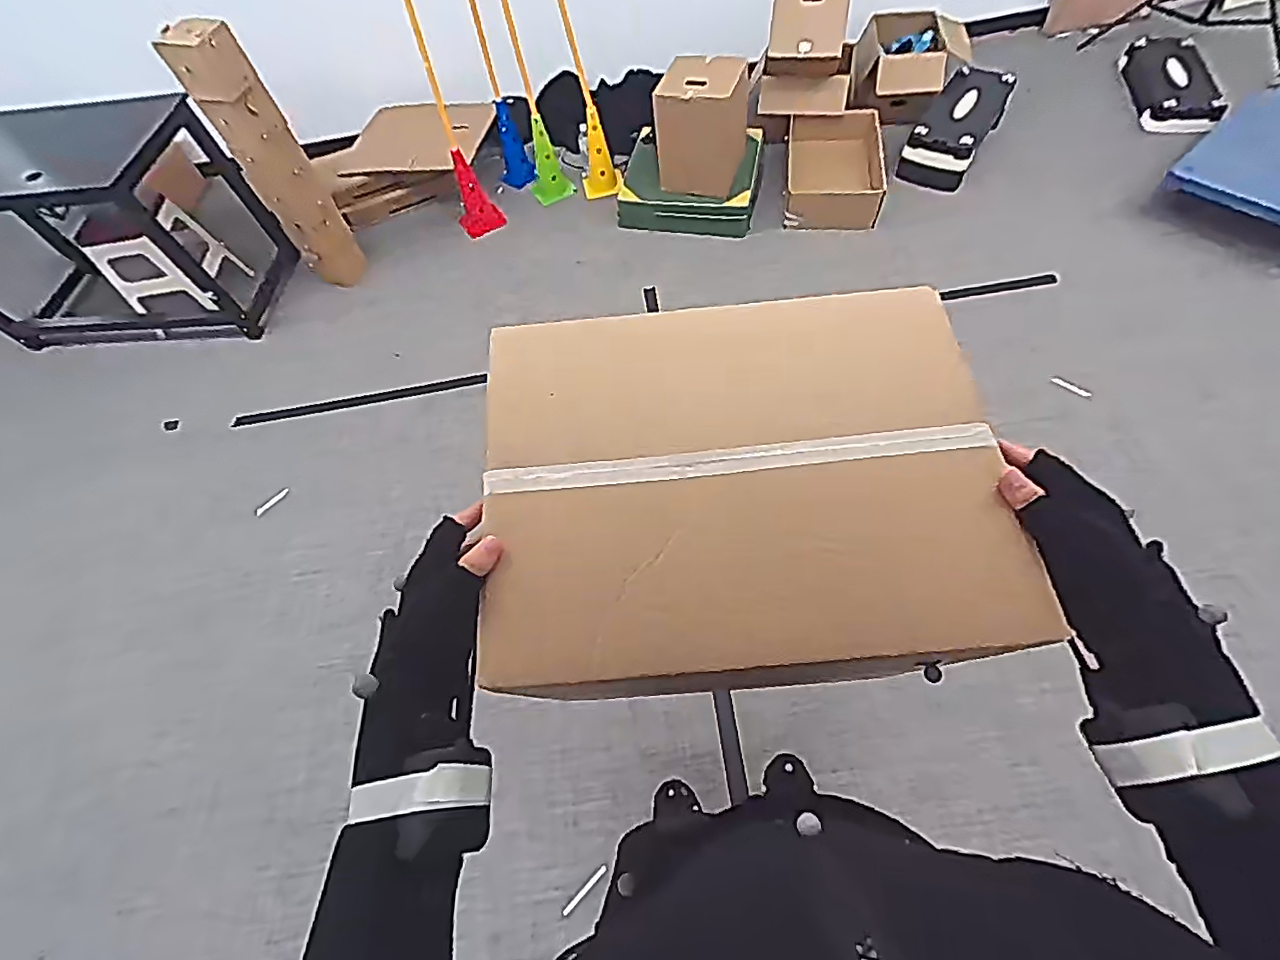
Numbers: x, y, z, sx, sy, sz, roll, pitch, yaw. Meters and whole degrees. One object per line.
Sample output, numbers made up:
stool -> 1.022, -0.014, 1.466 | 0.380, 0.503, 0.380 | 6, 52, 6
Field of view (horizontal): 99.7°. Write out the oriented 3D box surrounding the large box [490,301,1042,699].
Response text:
large box -> 0.086, 0.051, 0.577 | 0.408, 0.320, 0.320 | -5, 66, 1

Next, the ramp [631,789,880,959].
ramp -> 0.288, 1.205, 1.074 | 0.509, 0.206, 0.991 | -10, 61, -1
